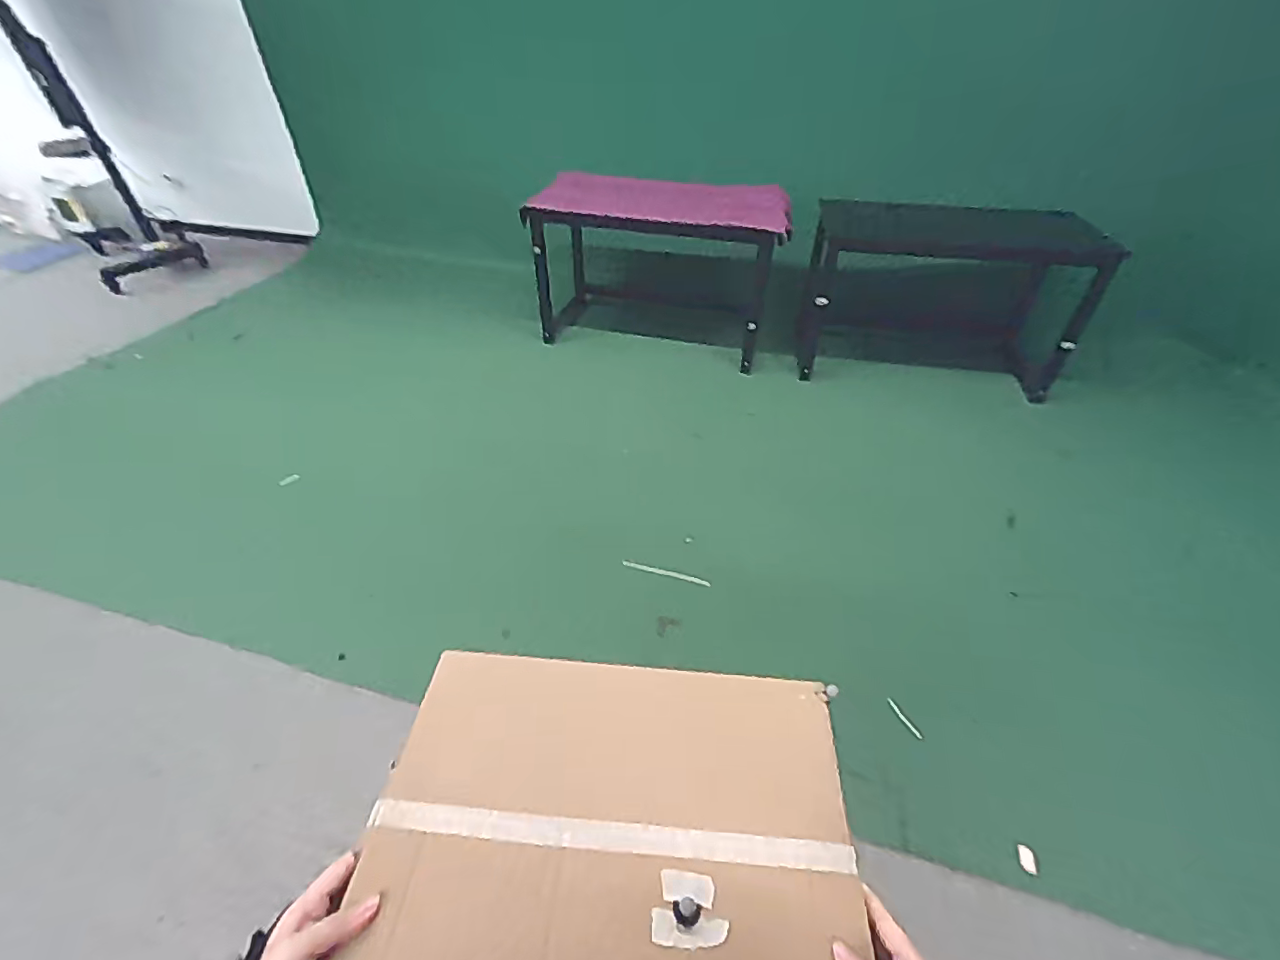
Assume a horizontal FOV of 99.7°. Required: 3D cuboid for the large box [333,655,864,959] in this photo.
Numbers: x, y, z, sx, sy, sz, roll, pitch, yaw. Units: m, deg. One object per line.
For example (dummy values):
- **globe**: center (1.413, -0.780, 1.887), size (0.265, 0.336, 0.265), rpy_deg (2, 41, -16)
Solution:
- **large box**: center (-0.029, 0.414, 0.566), size (0.408, 0.320, 0.320), rpy_deg (4, 41, 2)
